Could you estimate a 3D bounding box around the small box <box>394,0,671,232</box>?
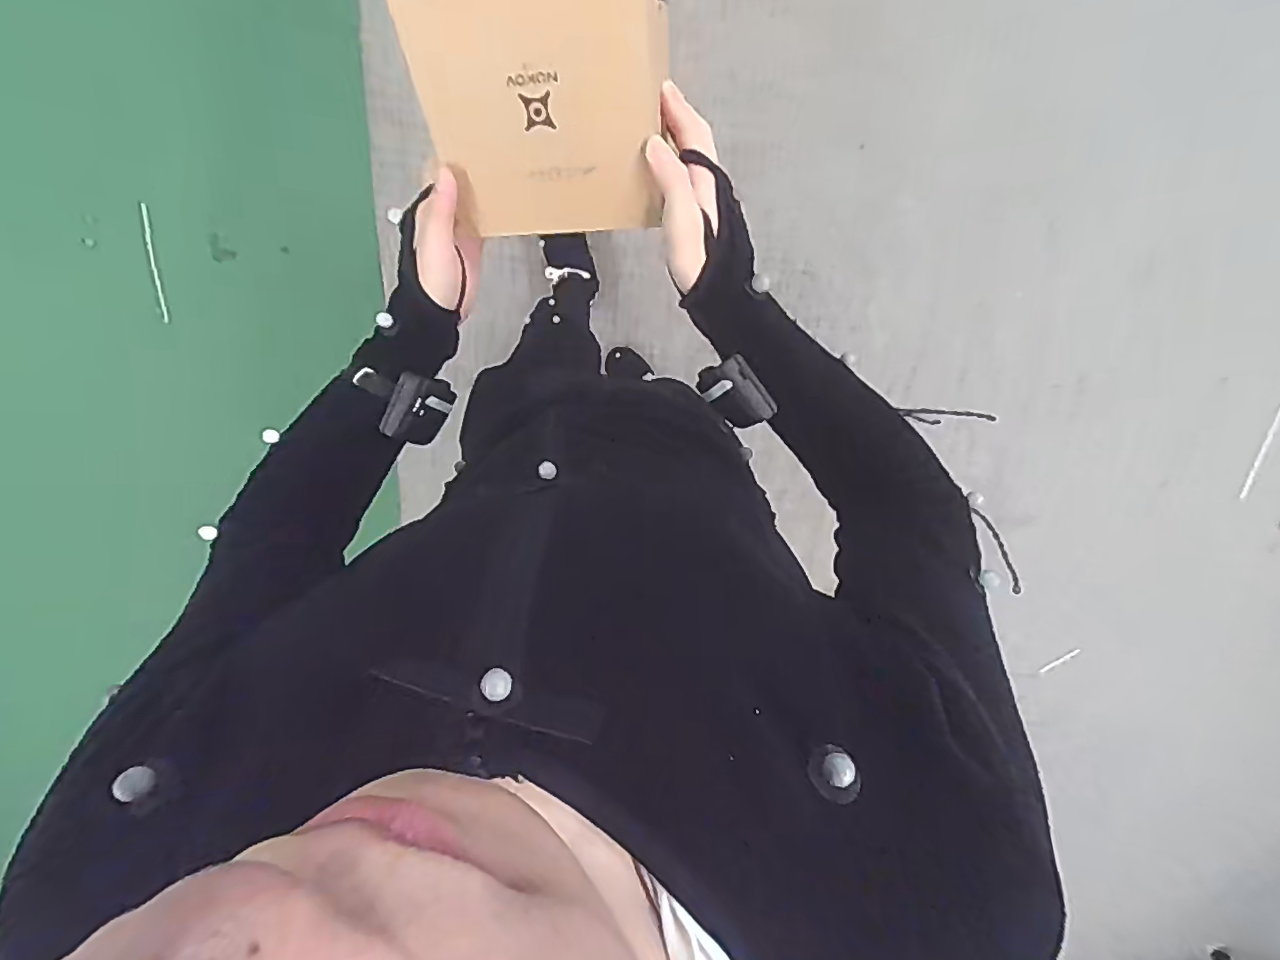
[{"bbox_3d":[-0.063,-0.317,0.424,0.168,0.176,0.179,1,136,7],"label":"small box"}]
